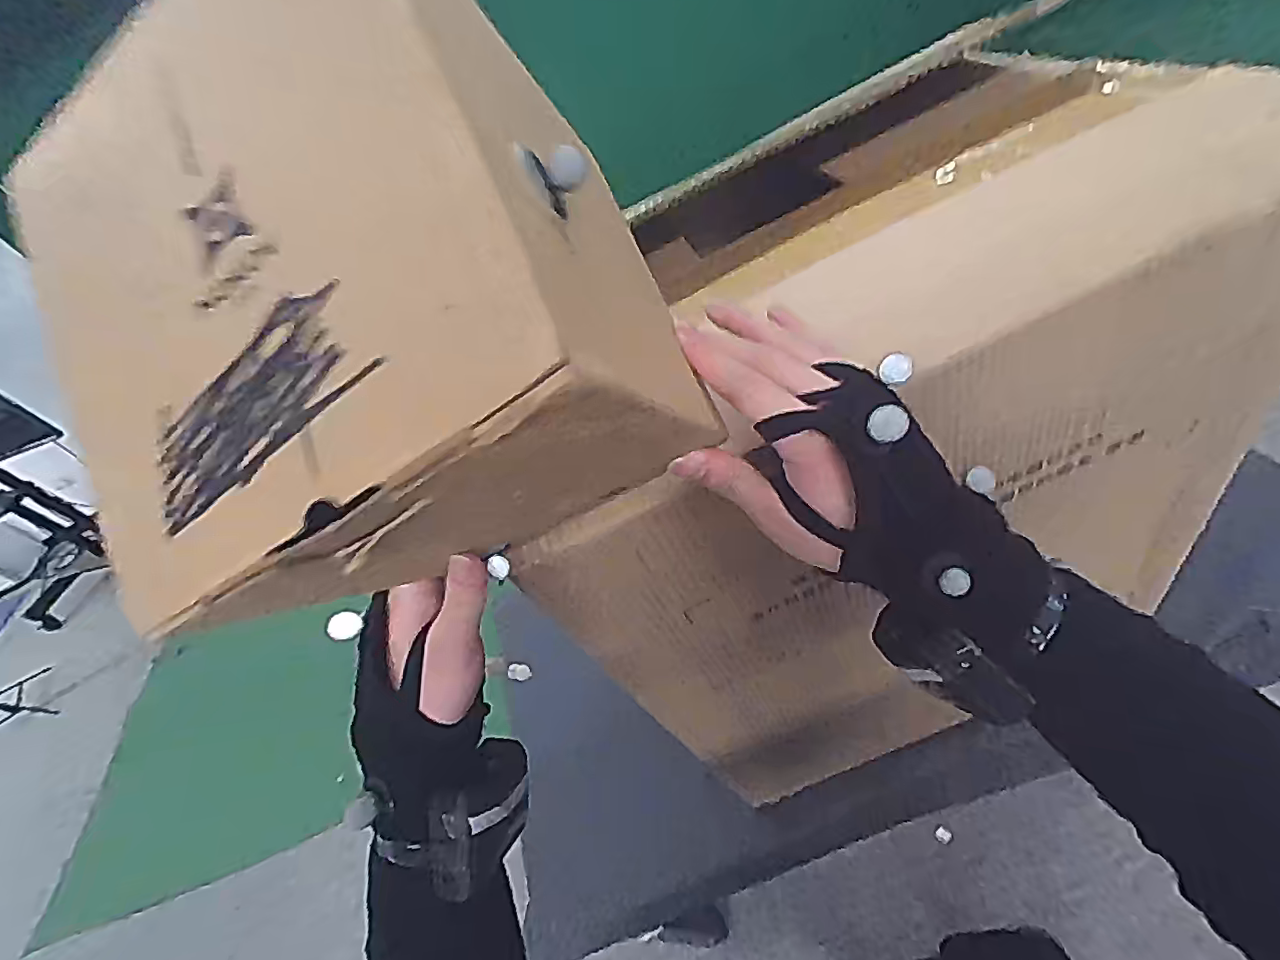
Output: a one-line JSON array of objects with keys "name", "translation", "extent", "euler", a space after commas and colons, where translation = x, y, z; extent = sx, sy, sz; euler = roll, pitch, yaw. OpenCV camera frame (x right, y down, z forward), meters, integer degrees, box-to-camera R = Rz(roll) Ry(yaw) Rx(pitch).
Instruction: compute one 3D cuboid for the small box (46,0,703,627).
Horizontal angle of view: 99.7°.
[{"name": "small box", "translation": [-0.091, -0.061, 0.237], "extent": [0.168, 0.176, 0.179], "euler": [-27, 78, 18]}]
